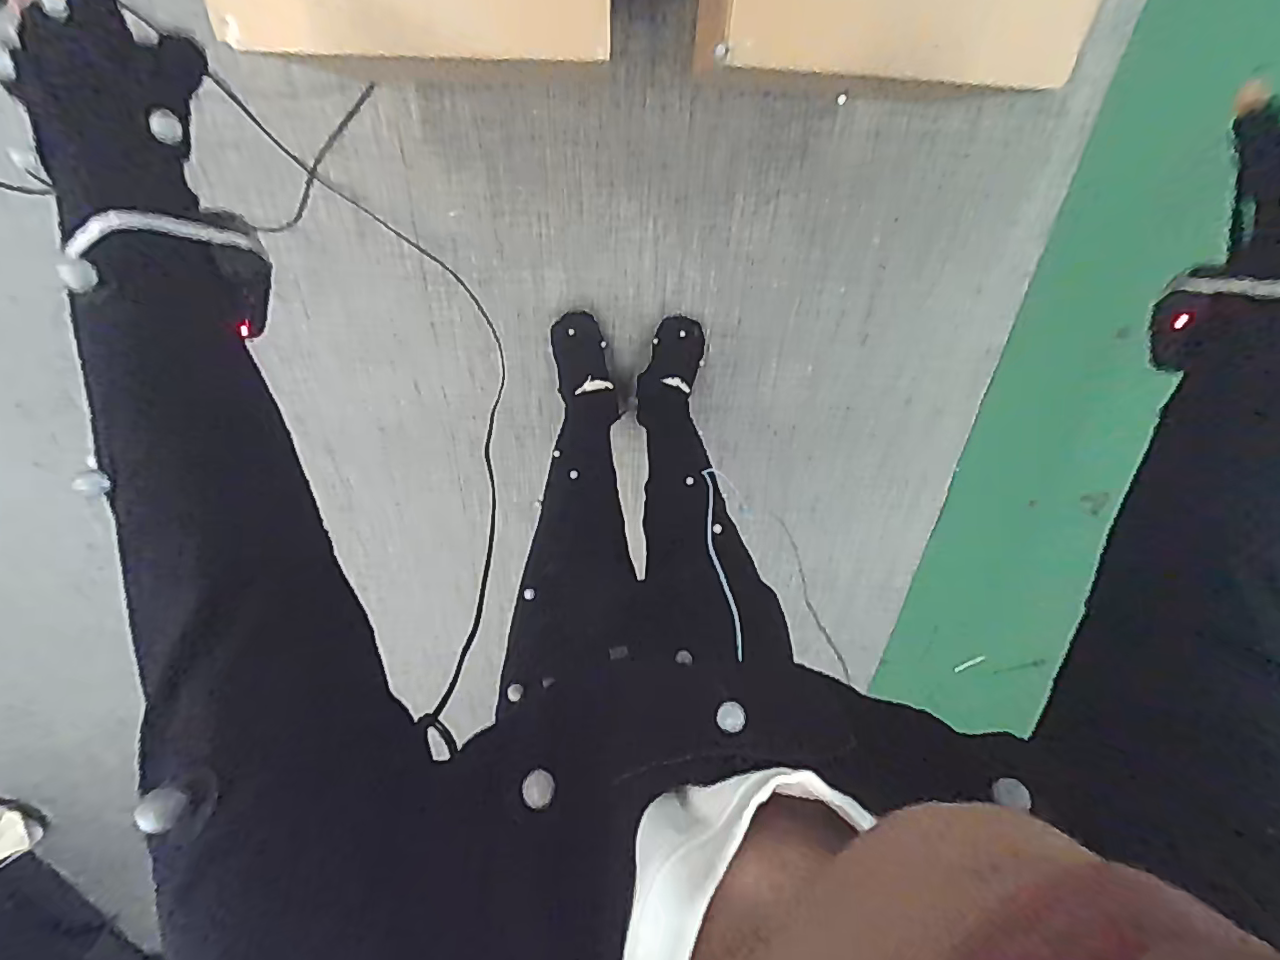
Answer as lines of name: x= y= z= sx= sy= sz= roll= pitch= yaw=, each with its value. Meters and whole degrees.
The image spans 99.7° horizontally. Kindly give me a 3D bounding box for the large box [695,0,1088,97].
large box: x=0.299 y=-0.678 z=0.672 sx=0.408 sy=0.320 sz=0.320 roll=2 pitch=122 yaw=-4
